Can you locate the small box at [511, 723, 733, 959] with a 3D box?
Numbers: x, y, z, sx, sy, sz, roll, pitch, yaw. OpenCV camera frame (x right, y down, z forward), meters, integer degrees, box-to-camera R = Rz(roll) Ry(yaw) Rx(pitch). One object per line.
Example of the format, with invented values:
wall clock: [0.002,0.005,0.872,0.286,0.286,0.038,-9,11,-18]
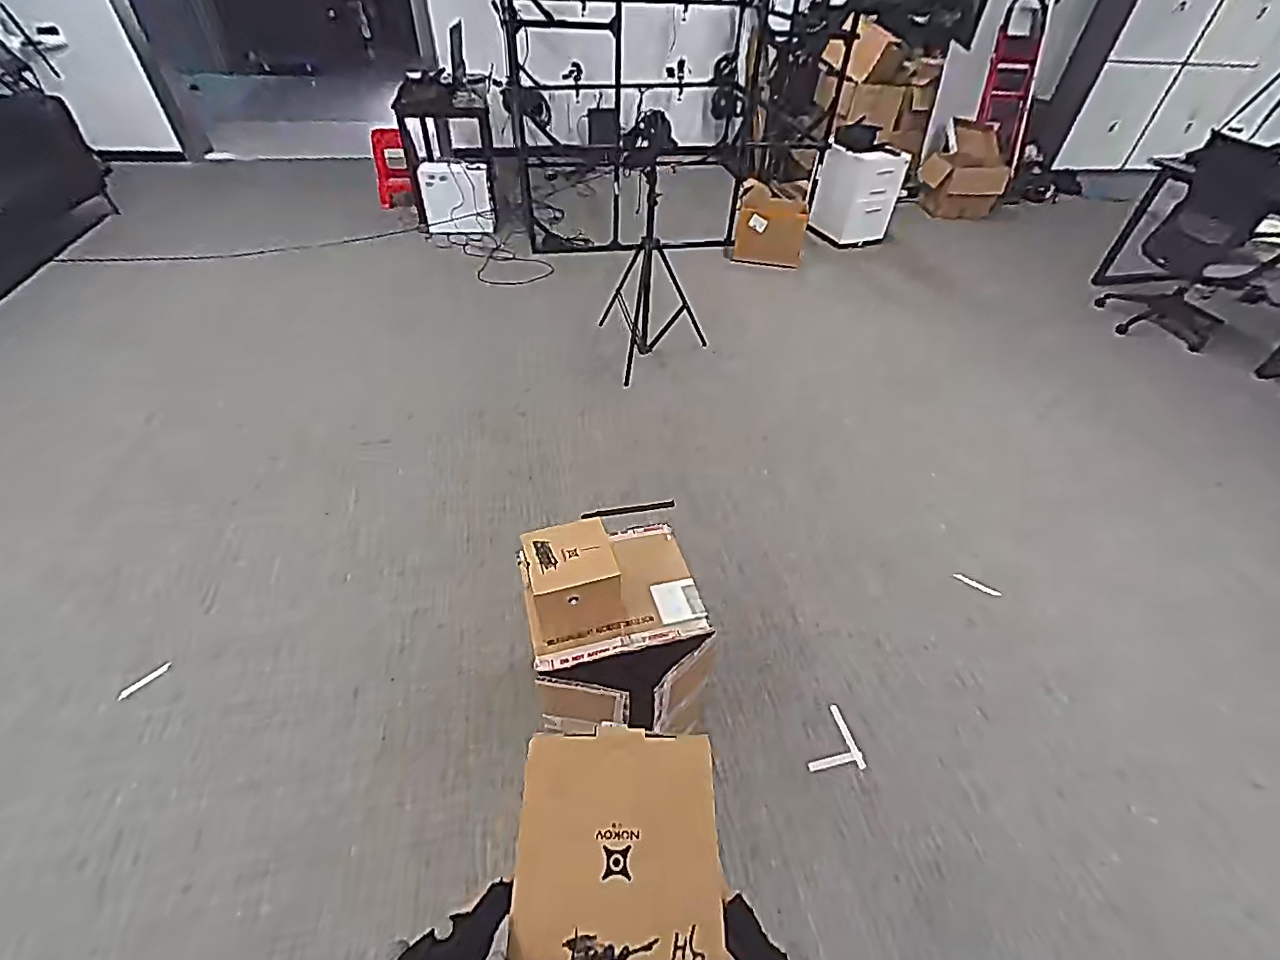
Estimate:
small box: [-0.017,0.342,0.505,0.168,0.176,0.179,1,52,-2]

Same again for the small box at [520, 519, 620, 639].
small box: [-0.146,0.213,1.148,0.179,0.176,0.168,-12,44,-14]
